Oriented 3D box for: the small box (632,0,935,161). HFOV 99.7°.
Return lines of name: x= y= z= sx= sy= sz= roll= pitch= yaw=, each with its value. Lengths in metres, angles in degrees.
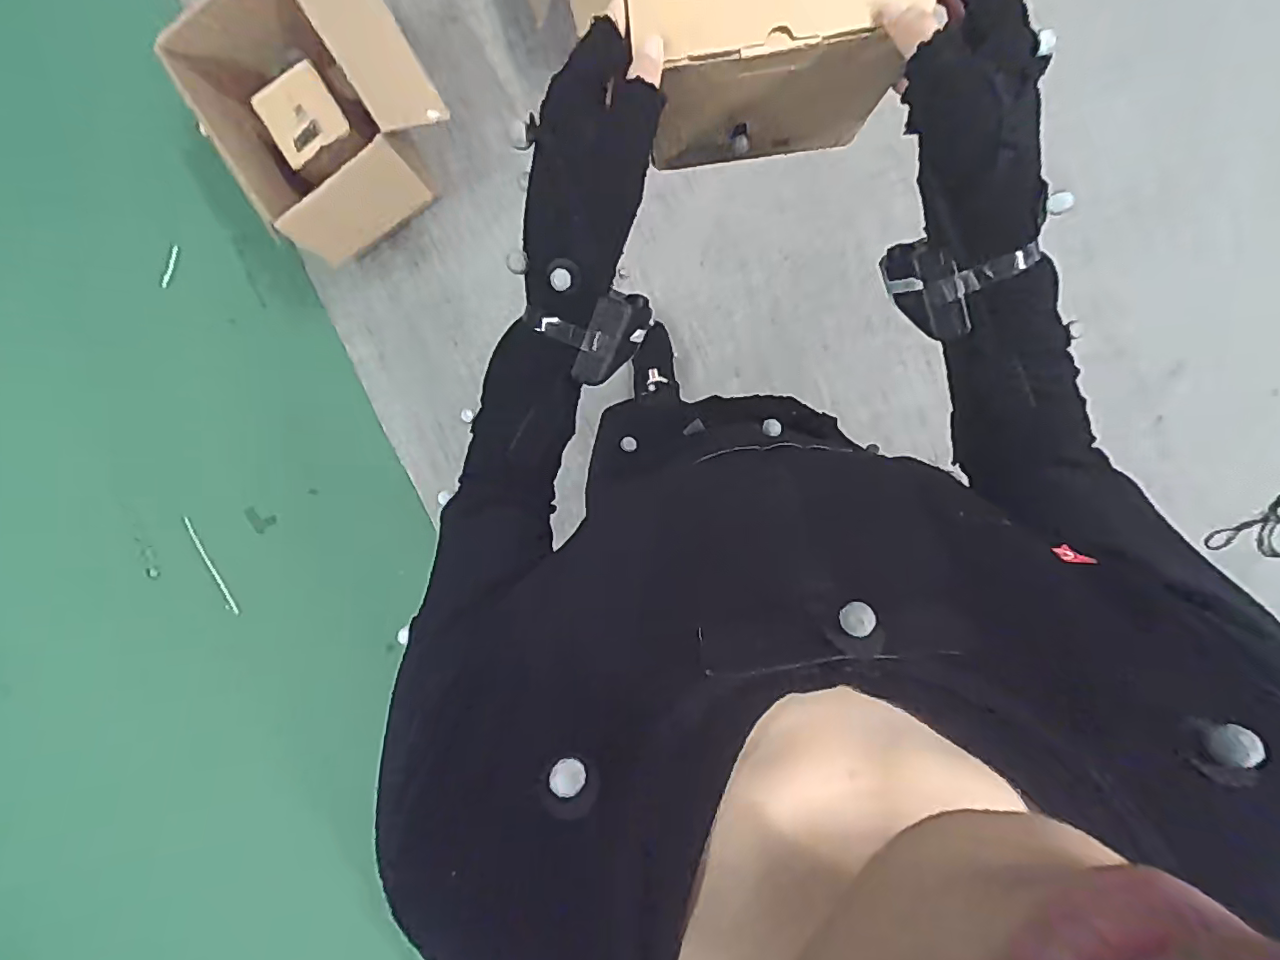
small box: x=0.080 y=-0.345 z=0.361 sx=0.168 sy=0.176 sz=0.179 roll=-4 pitch=102 yaw=8
